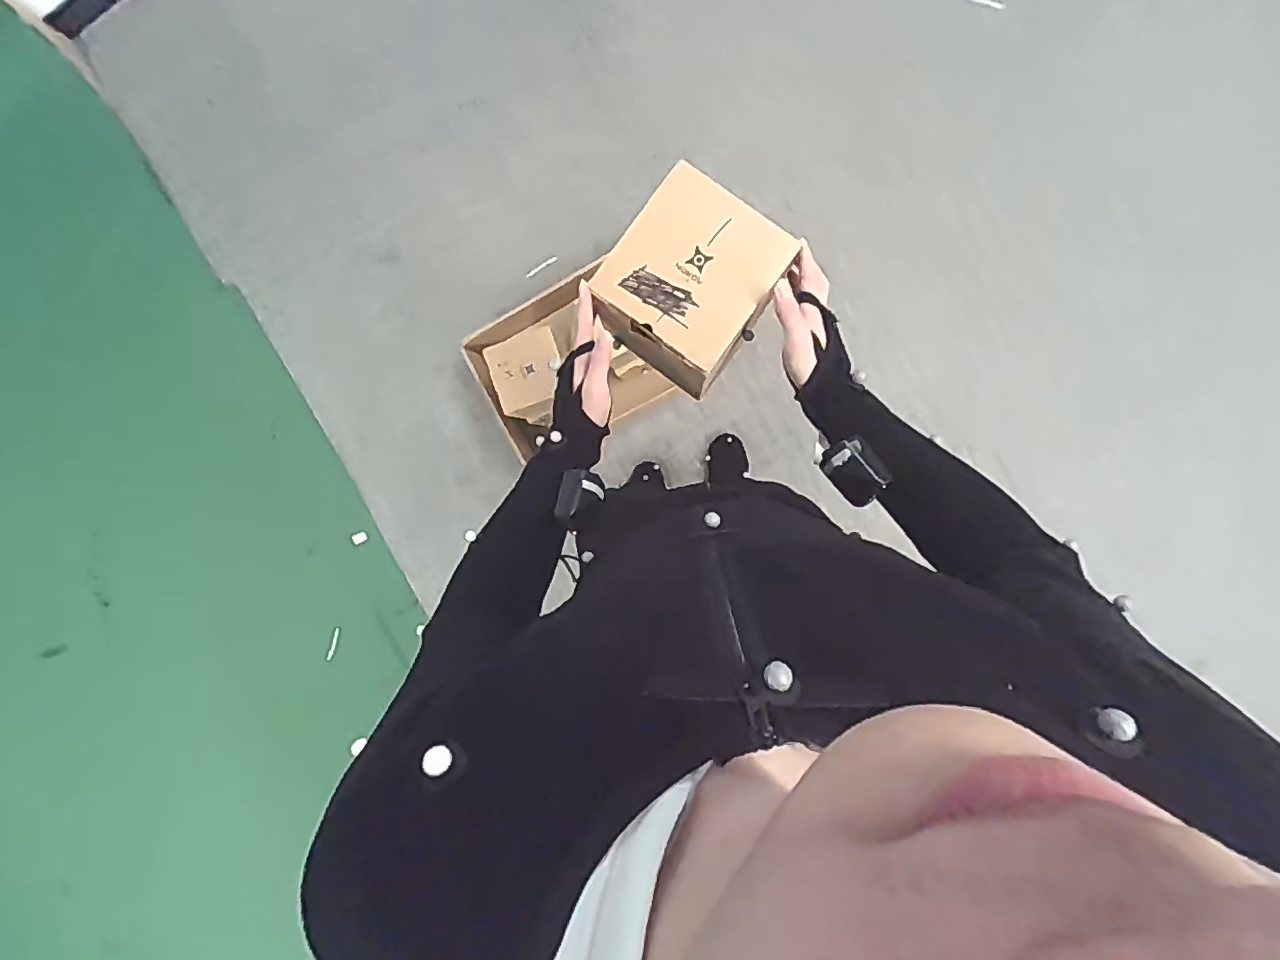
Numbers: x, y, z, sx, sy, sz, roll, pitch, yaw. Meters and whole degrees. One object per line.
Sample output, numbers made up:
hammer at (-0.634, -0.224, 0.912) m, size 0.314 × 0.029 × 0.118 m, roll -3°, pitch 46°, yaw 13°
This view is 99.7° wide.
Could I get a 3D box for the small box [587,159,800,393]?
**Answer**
small box at (0.062, -0.229, 0.659) m, size 0.168 × 0.176 × 0.179 m, roll 37°, pitch 90°, yaw 3°
